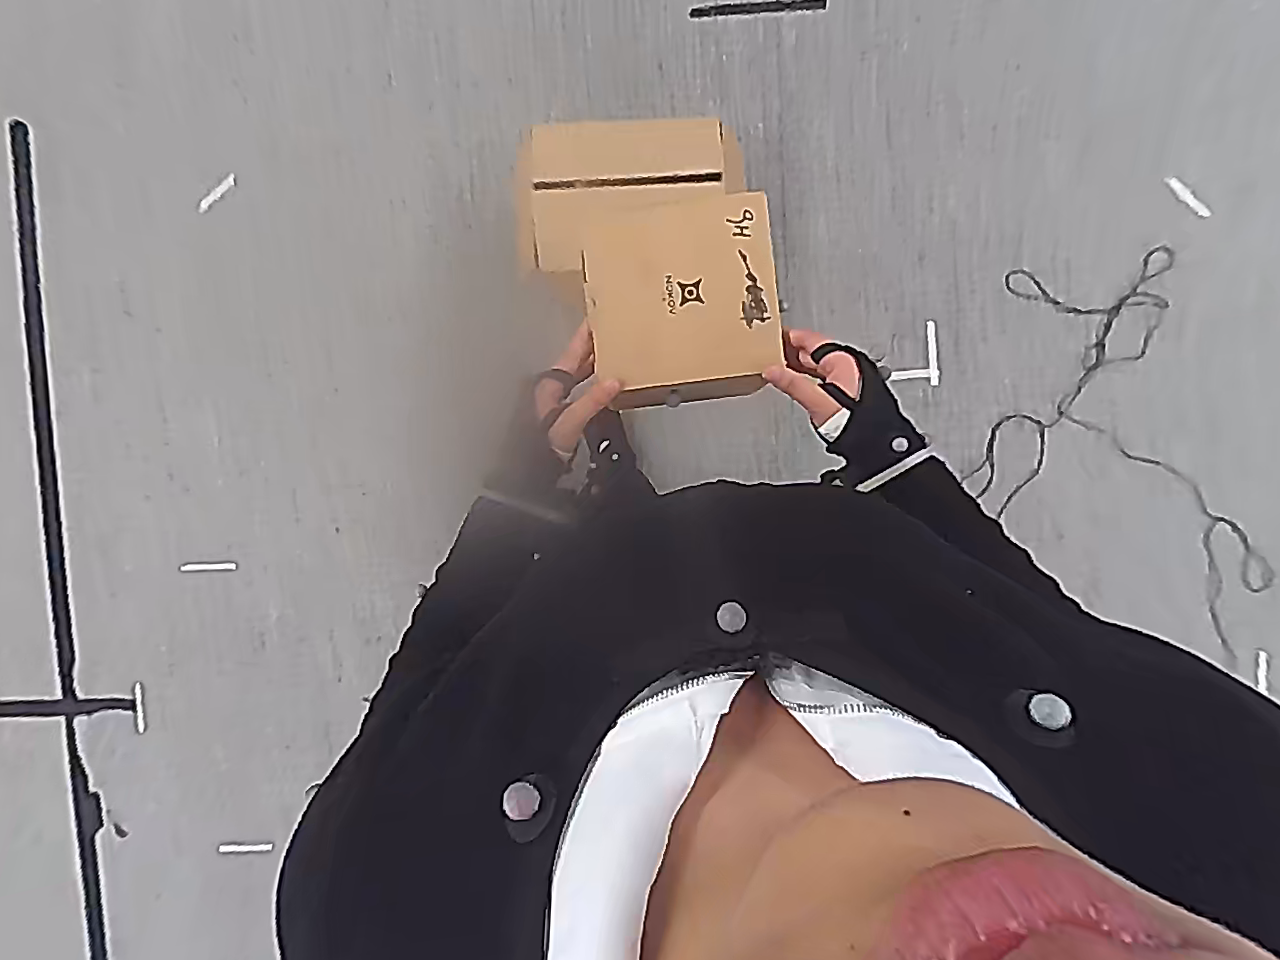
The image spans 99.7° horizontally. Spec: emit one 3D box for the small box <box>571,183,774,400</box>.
[{"bbox_3d":[0.034,-0.182,0.576,0.179,0.176,0.168,-7,92,2],"label":"small box"}]
